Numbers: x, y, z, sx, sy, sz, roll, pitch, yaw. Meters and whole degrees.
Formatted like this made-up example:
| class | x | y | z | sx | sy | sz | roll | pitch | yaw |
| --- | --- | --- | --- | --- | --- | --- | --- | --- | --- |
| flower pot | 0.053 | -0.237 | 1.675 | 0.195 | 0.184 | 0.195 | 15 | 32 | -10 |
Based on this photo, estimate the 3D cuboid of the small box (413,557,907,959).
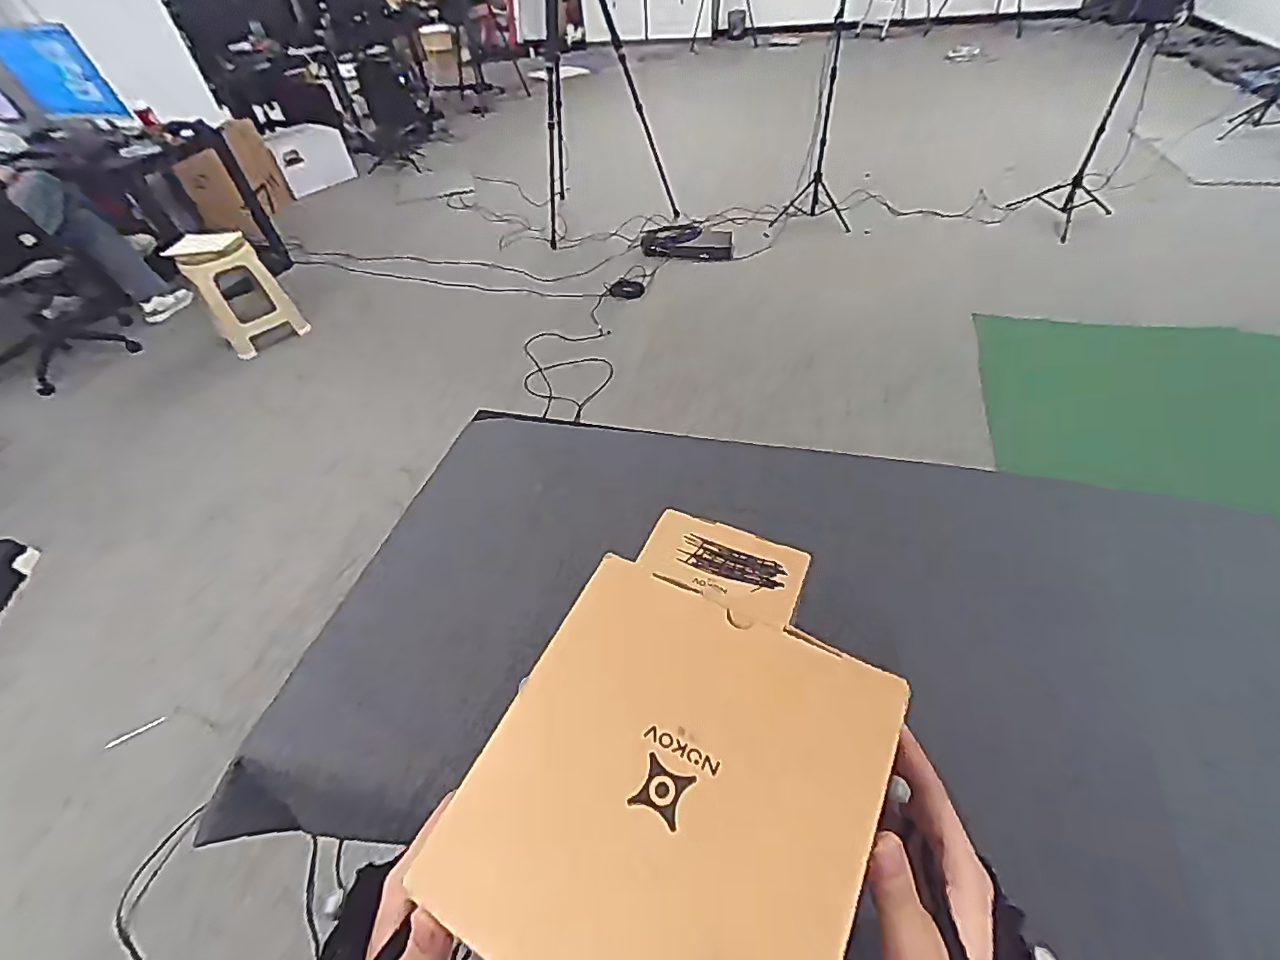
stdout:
| class | x | y | z | sx | sy | sz | roll | pitch | yaw |
| --- | --- | --- | --- | --- | --- | --- | --- | --- | --- |
| small box | 0.023 | 0.180 | 0.301 | 0.168 | 0.176 | 0.179 | 20 | 58 | 21 |
